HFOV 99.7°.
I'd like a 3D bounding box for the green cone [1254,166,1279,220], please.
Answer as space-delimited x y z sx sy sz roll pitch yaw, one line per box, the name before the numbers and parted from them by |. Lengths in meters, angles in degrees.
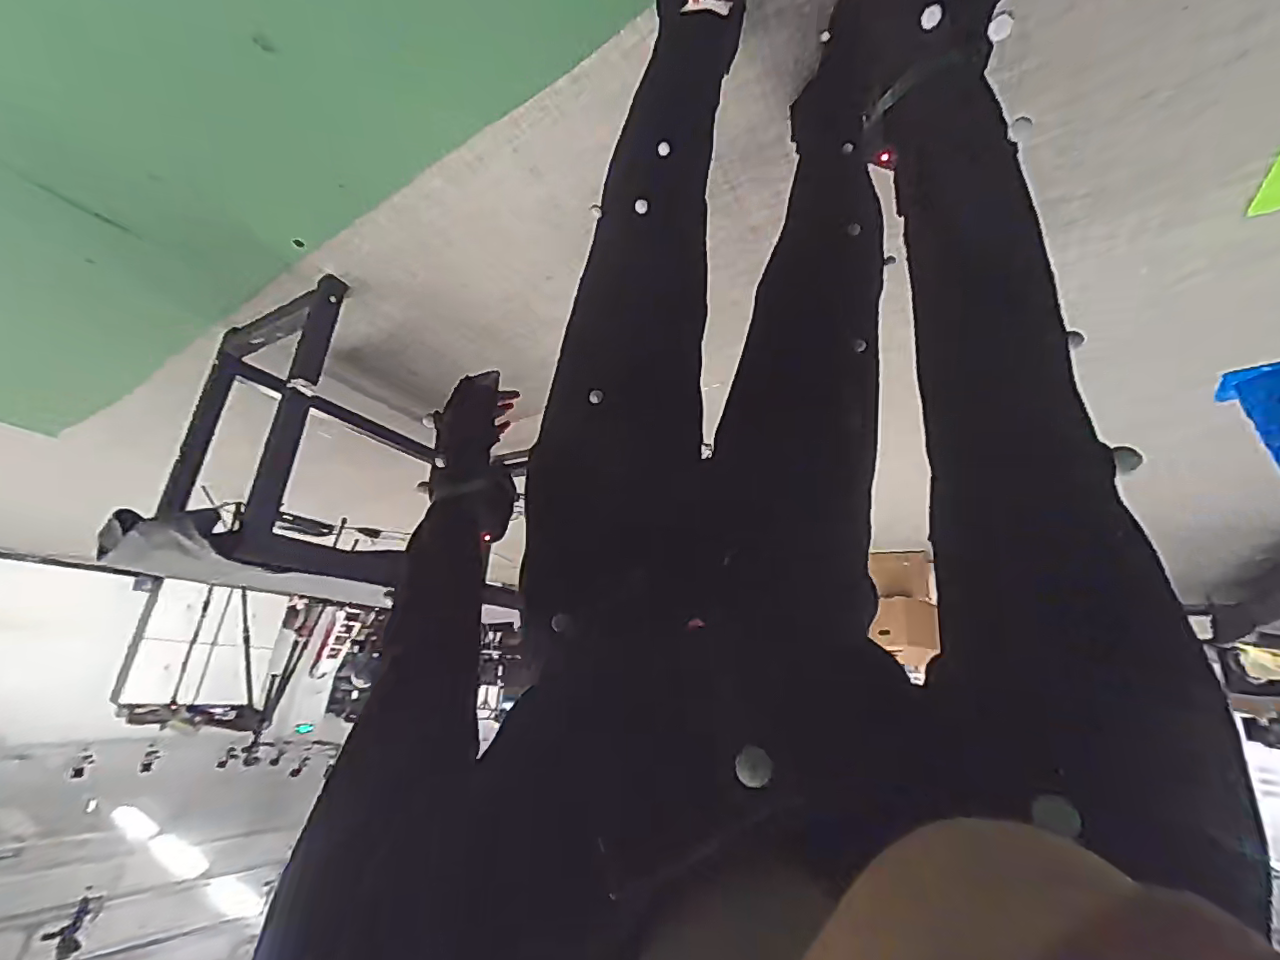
green cone | 1.163 -0.369 0.825 0.200 0.368 0.202 -8 156 31
